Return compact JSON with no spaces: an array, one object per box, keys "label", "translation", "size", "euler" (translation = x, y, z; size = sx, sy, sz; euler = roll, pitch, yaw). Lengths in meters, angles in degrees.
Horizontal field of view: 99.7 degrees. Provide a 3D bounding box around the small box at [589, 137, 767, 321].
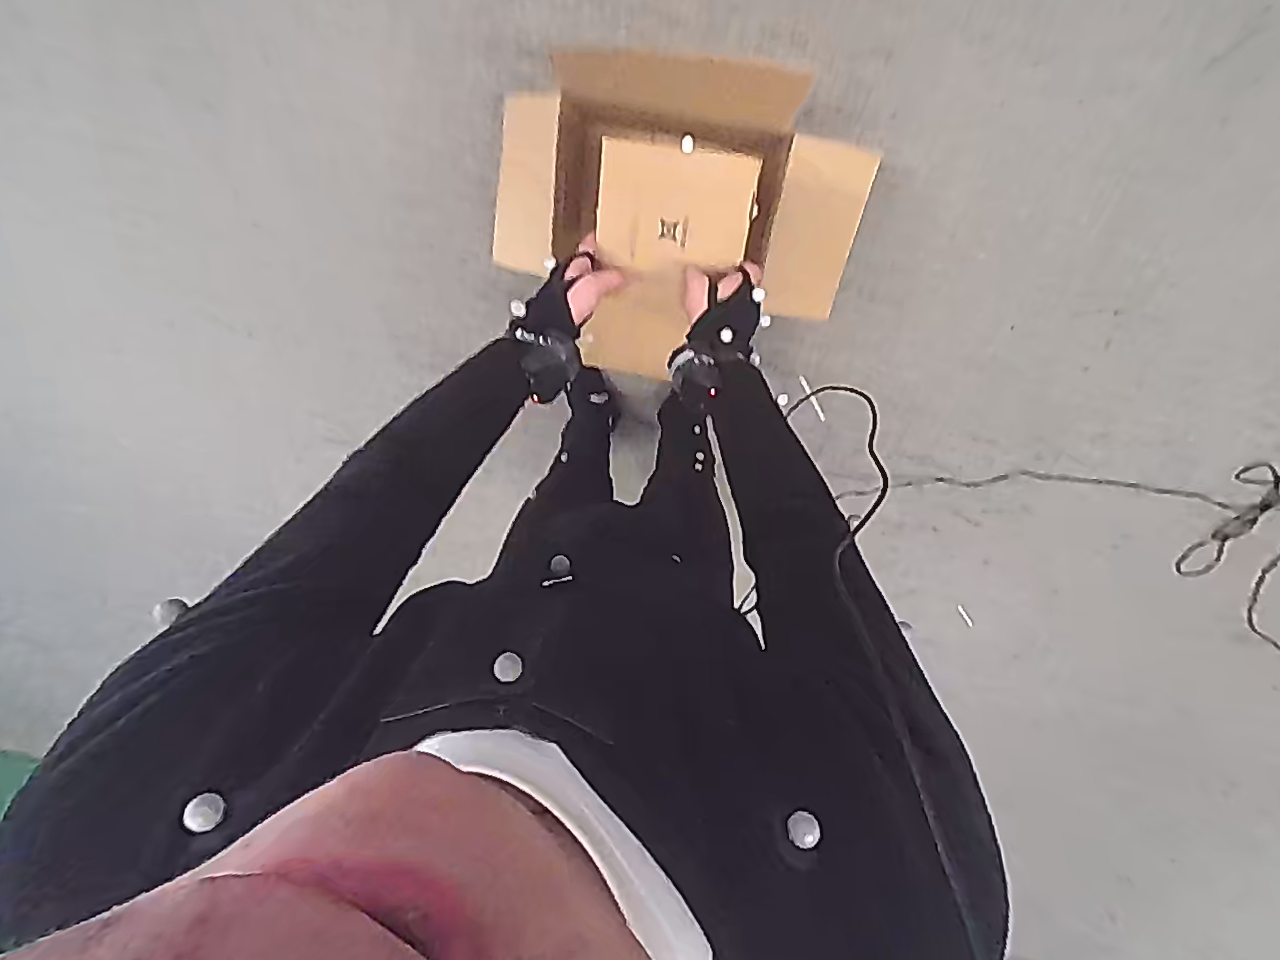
[{"label":"small box","translation":[0.043,-0.306,0.679],"size":[0.179,0.176,0.168],"euler":[10,112,0]}]
